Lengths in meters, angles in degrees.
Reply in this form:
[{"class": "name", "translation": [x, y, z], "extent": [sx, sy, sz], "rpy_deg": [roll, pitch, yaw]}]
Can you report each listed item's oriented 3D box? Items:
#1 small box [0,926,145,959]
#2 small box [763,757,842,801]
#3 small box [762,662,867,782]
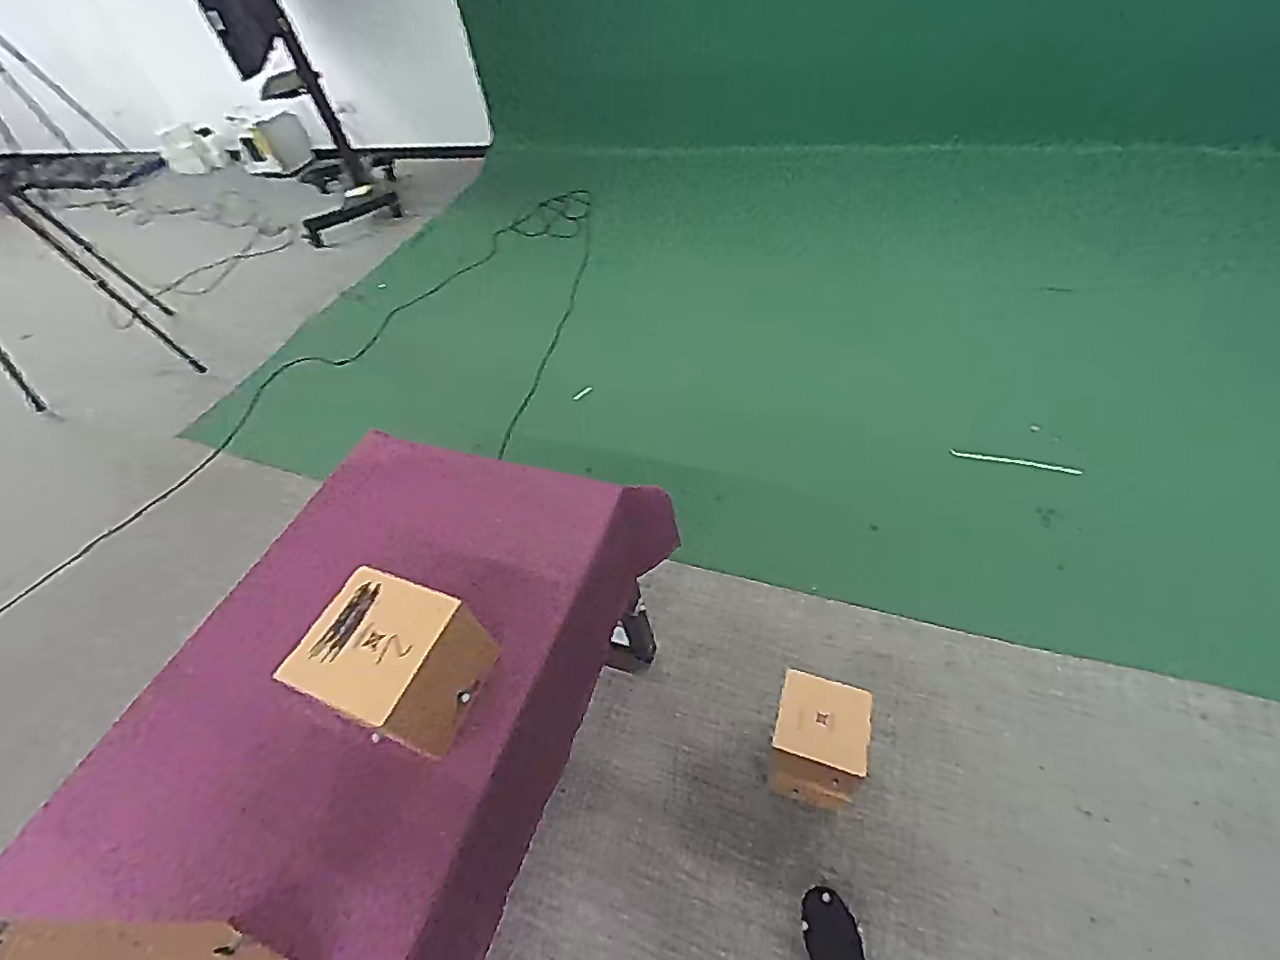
[{"class": "small box", "translation": [-0.486, 0.453, 0.386], "extent": [0.179, 0.176, 0.168], "rpy_deg": [11, 55, 18]}, {"class": "small box", "translation": [0.383, 0.624, 1.264], "extent": [0.168, 0.176, 0.179], "rpy_deg": [10, 53, 16]}, {"class": "small box", "translation": [0.365, 0.516, 1.144], "extent": [0.179, 0.176, 0.168], "rpy_deg": [11, 53, 18]}]
